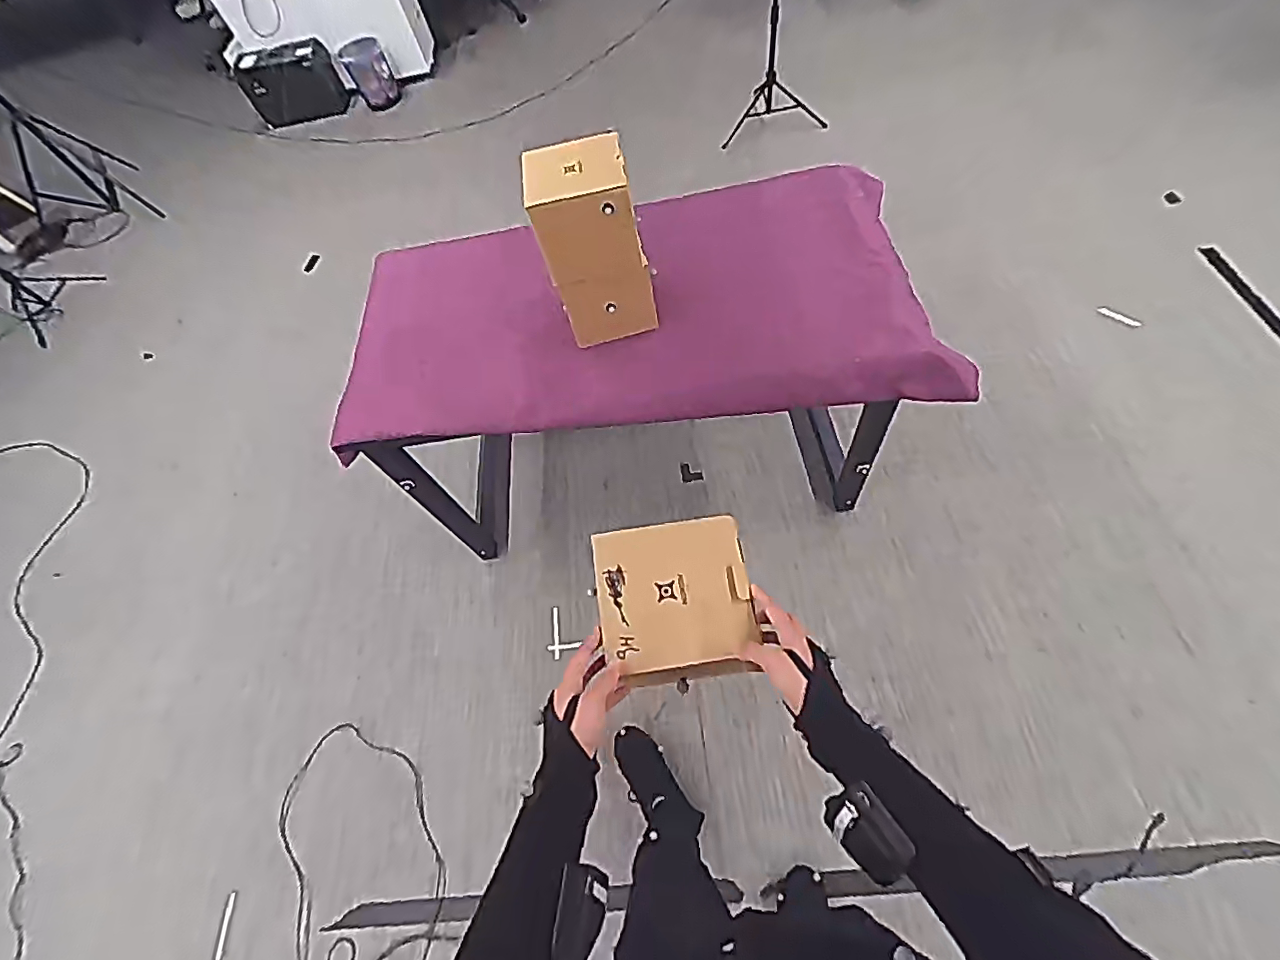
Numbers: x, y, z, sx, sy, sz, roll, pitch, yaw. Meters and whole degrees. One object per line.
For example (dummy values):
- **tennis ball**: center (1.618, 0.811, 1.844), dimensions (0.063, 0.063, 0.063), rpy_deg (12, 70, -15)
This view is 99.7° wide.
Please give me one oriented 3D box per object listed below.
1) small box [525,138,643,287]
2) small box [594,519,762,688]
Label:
- **small box**: center (-0.099, -0.478, 0.984), dimensions (0.179, 0.176, 0.168), rpy_deg (-10, 60, 3)
- **small box**: center (0.039, 0.163, 0.689), dimensions (0.179, 0.176, 0.168), rpy_deg (-7, 63, -2)
